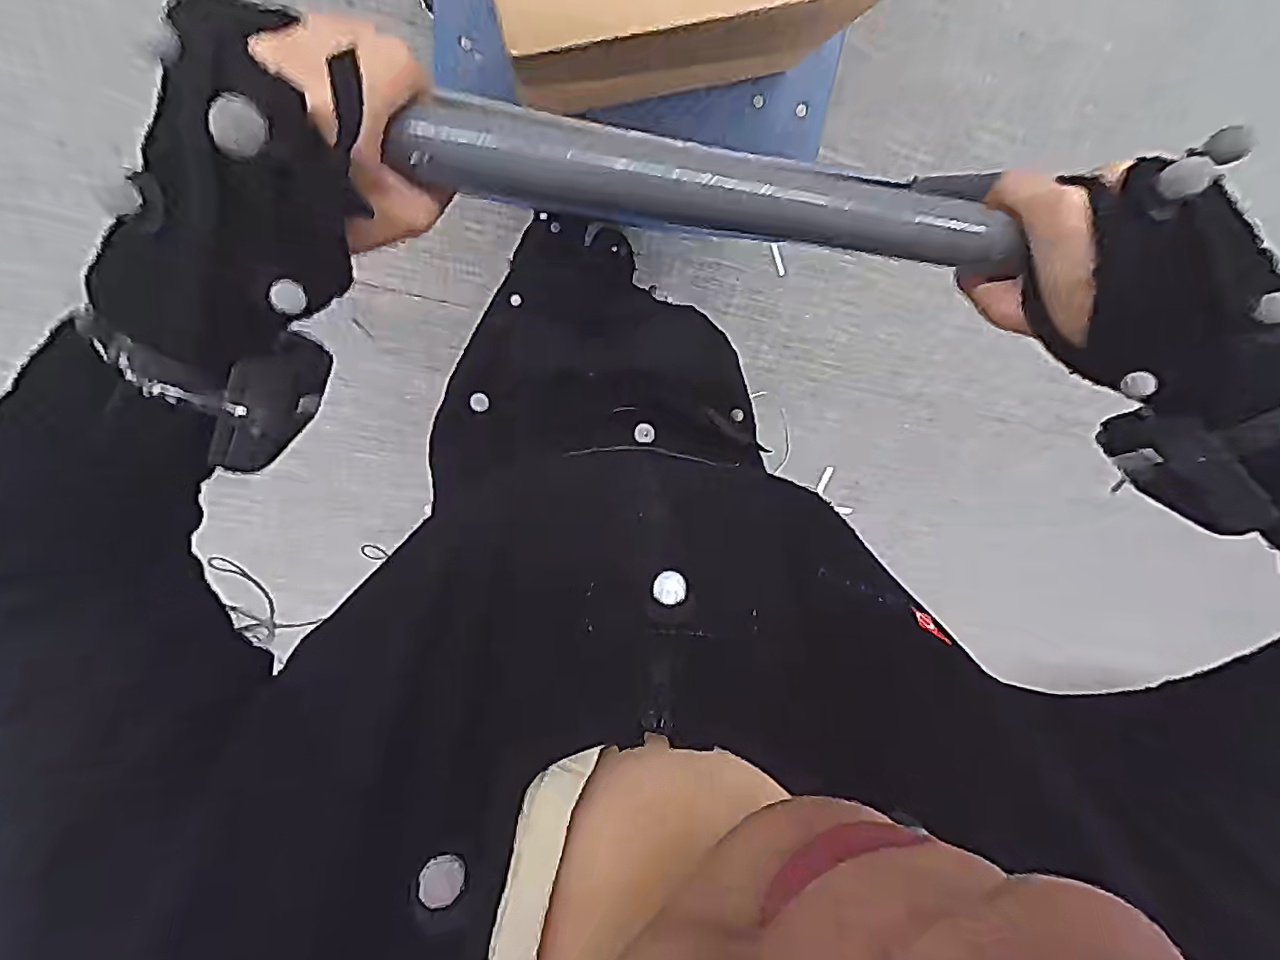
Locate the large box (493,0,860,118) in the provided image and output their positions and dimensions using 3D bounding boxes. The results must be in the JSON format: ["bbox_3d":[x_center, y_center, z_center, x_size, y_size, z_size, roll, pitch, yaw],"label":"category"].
[{"bbox_3d":[0.018,-0.643,0.590,0.408,0.320,0.320,-14,115,-4],"label":"large box"}]
